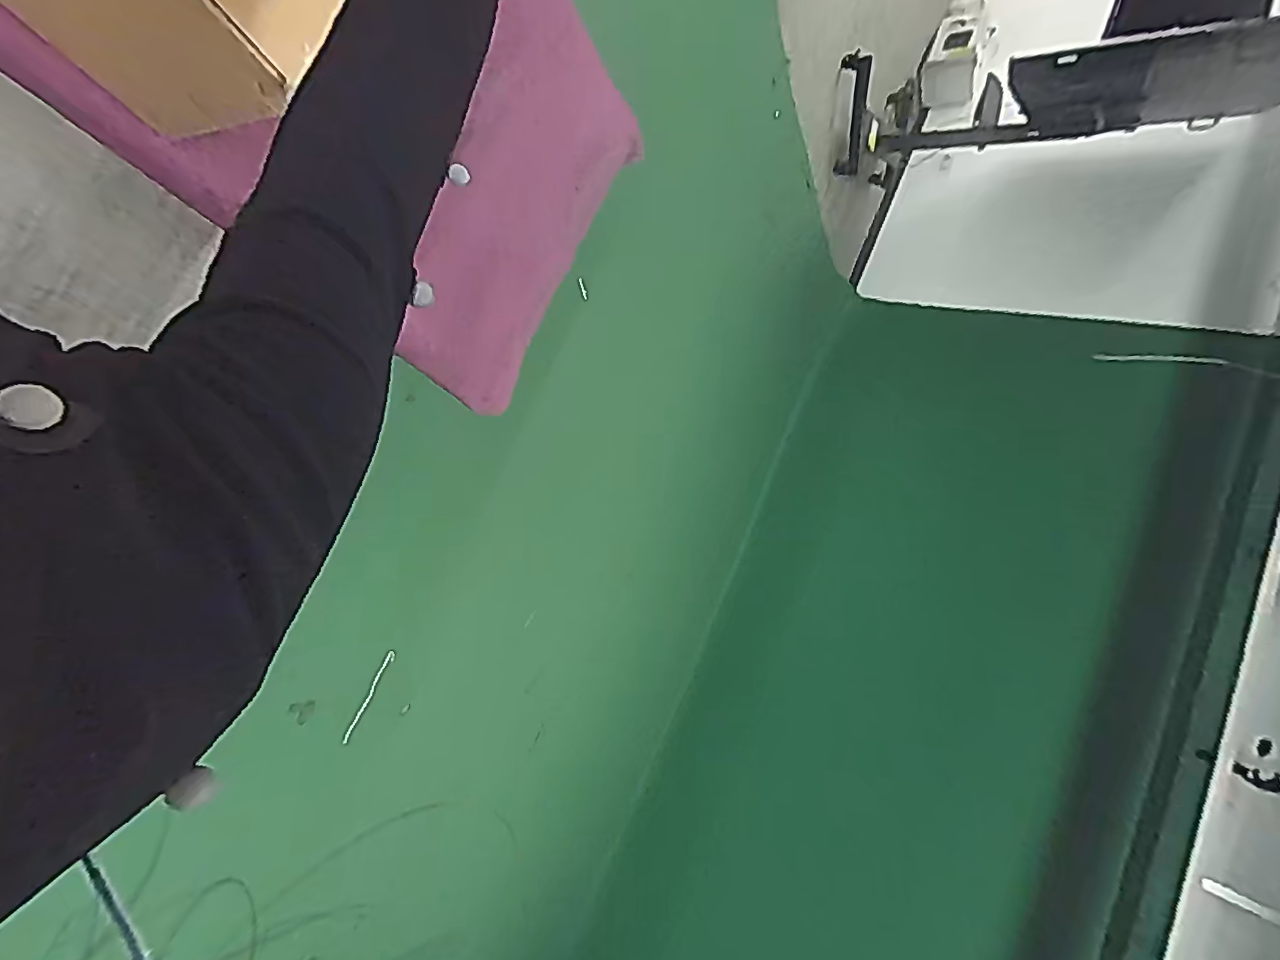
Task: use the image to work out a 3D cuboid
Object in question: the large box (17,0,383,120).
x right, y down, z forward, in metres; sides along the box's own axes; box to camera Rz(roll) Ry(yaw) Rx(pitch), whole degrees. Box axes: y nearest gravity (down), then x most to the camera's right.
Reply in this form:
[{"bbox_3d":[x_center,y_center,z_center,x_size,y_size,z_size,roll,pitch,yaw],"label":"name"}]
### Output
[{"bbox_3d":[-0.347,-0.559,0.398,0.408,0.320,0.320,-63,146,-12],"label":"large box"}]
